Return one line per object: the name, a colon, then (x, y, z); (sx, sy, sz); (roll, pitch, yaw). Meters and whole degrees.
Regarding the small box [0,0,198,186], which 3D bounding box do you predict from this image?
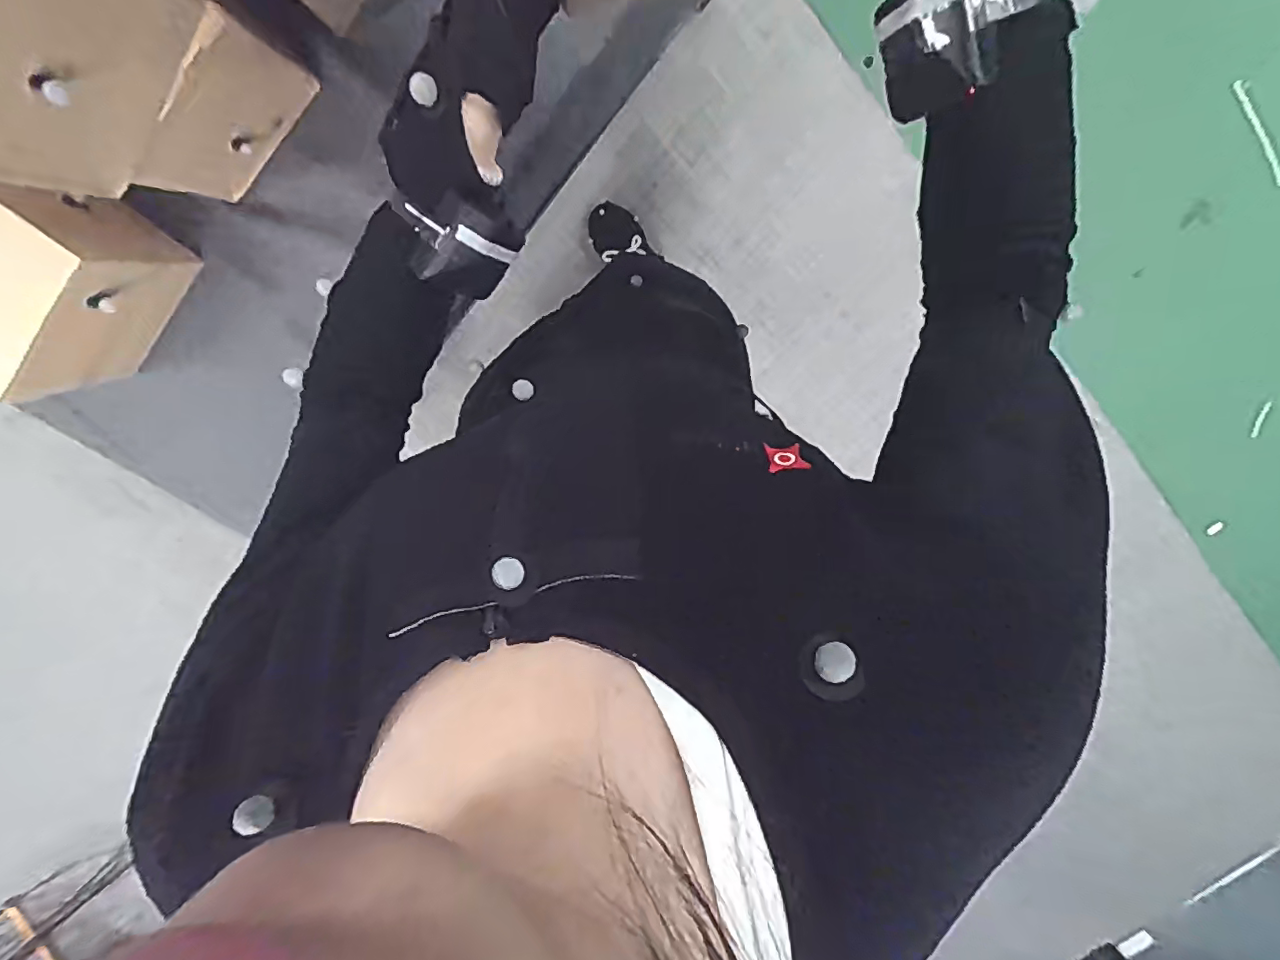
small box: (-0.435, -0.317, 0.339); (0.168, 0.176, 0.179); (34, 106, -18)
